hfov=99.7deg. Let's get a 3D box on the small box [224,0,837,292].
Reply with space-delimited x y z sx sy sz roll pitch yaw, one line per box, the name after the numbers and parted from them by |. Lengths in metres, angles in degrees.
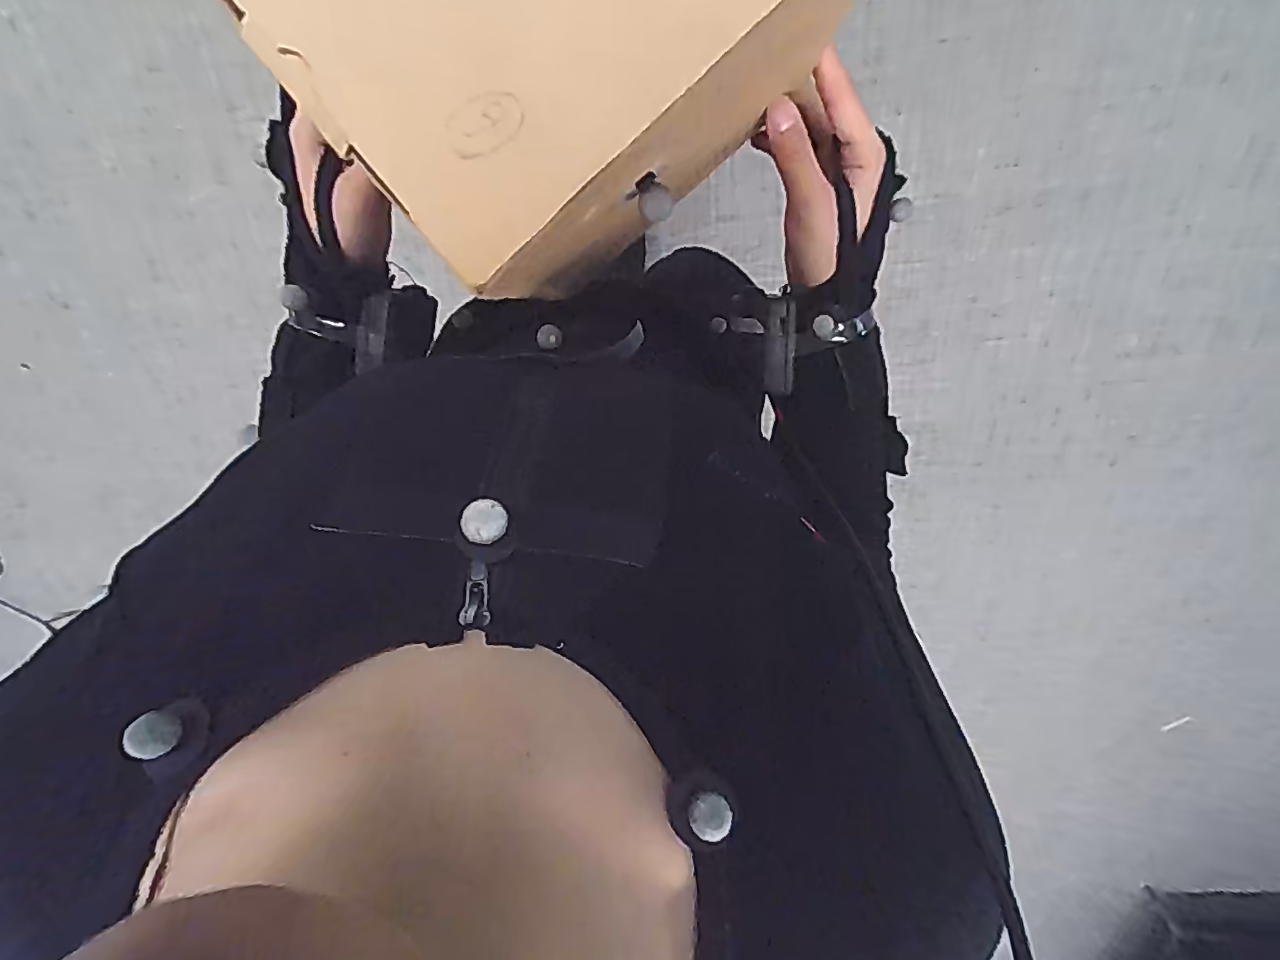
-0.033 -0.197 0.227 0.179 0.176 0.168 -36 102 15 | small box
